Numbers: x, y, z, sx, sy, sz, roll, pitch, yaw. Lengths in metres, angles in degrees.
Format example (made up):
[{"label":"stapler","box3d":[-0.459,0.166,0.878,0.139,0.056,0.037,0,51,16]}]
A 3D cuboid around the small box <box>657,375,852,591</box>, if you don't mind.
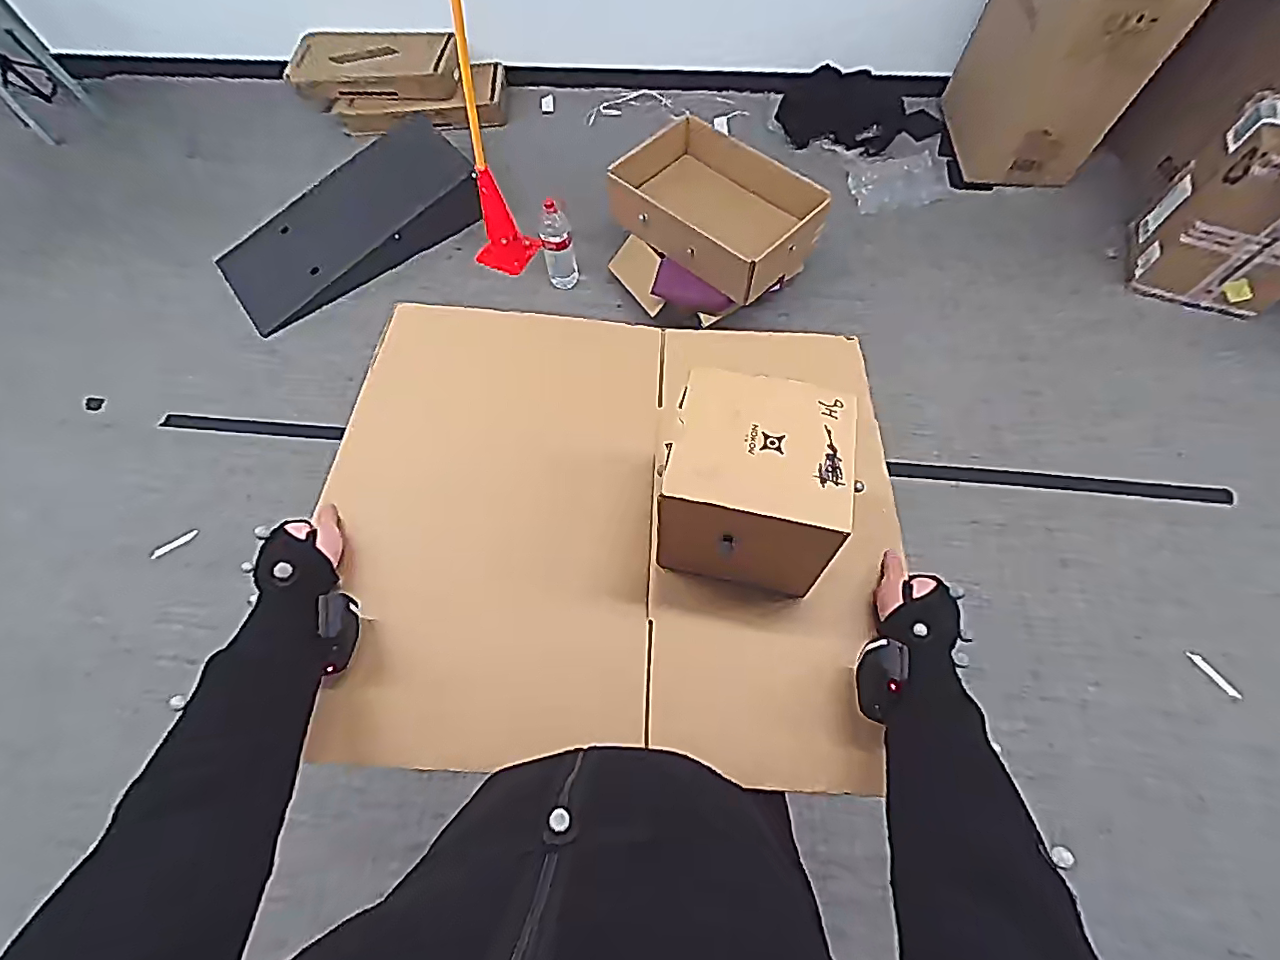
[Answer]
[{"label":"small box","box3d":[0.121,0.009,0.602,0.179,0.176,0.168,10,60,8]}]
